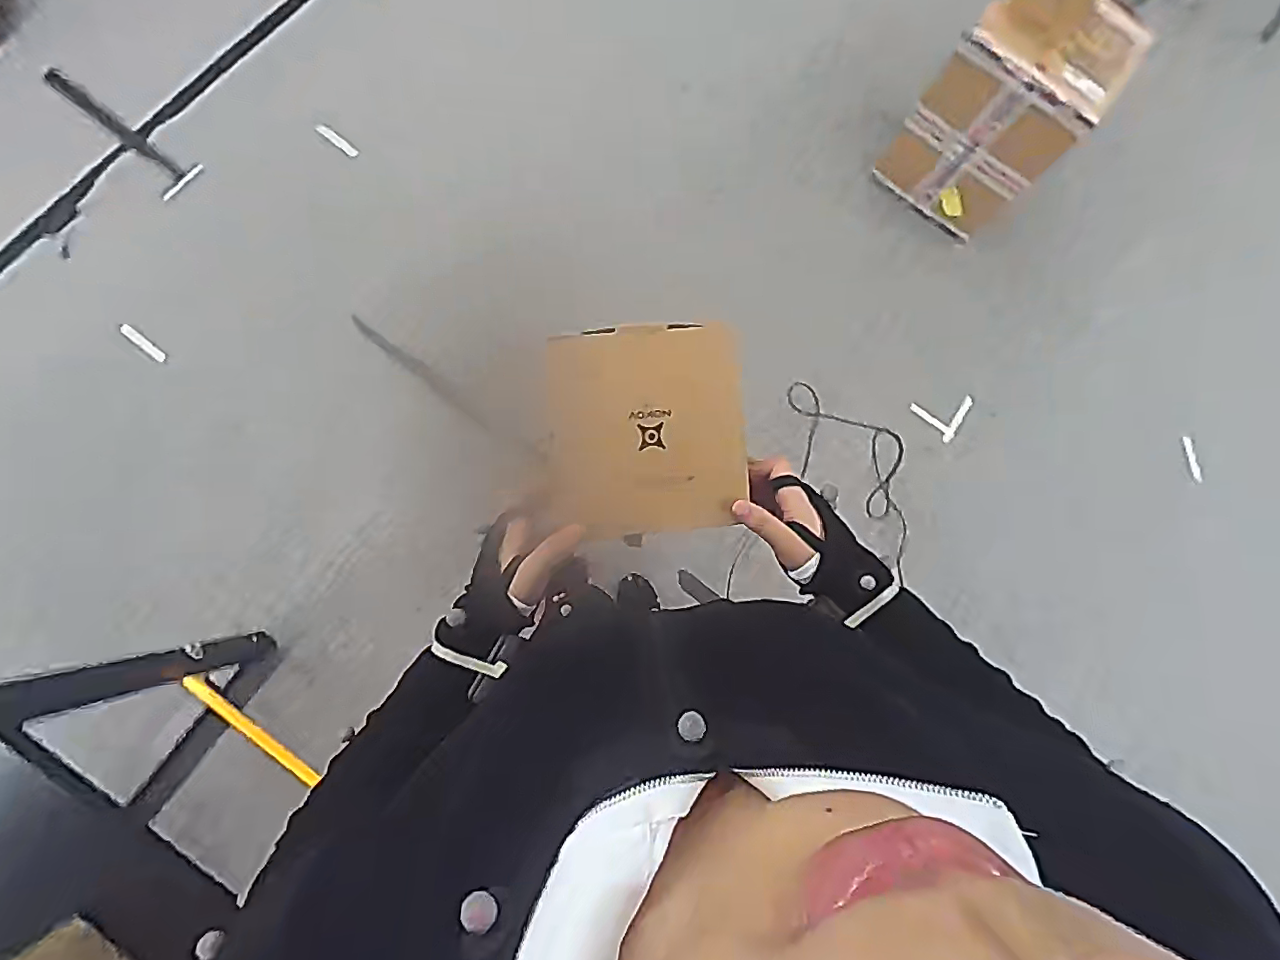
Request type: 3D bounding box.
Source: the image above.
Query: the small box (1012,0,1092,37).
[{"bbox_3d":[1.005,-1.191,1.247,0.168,0.176,0.179,39,82,4],"label":"small box"}]
